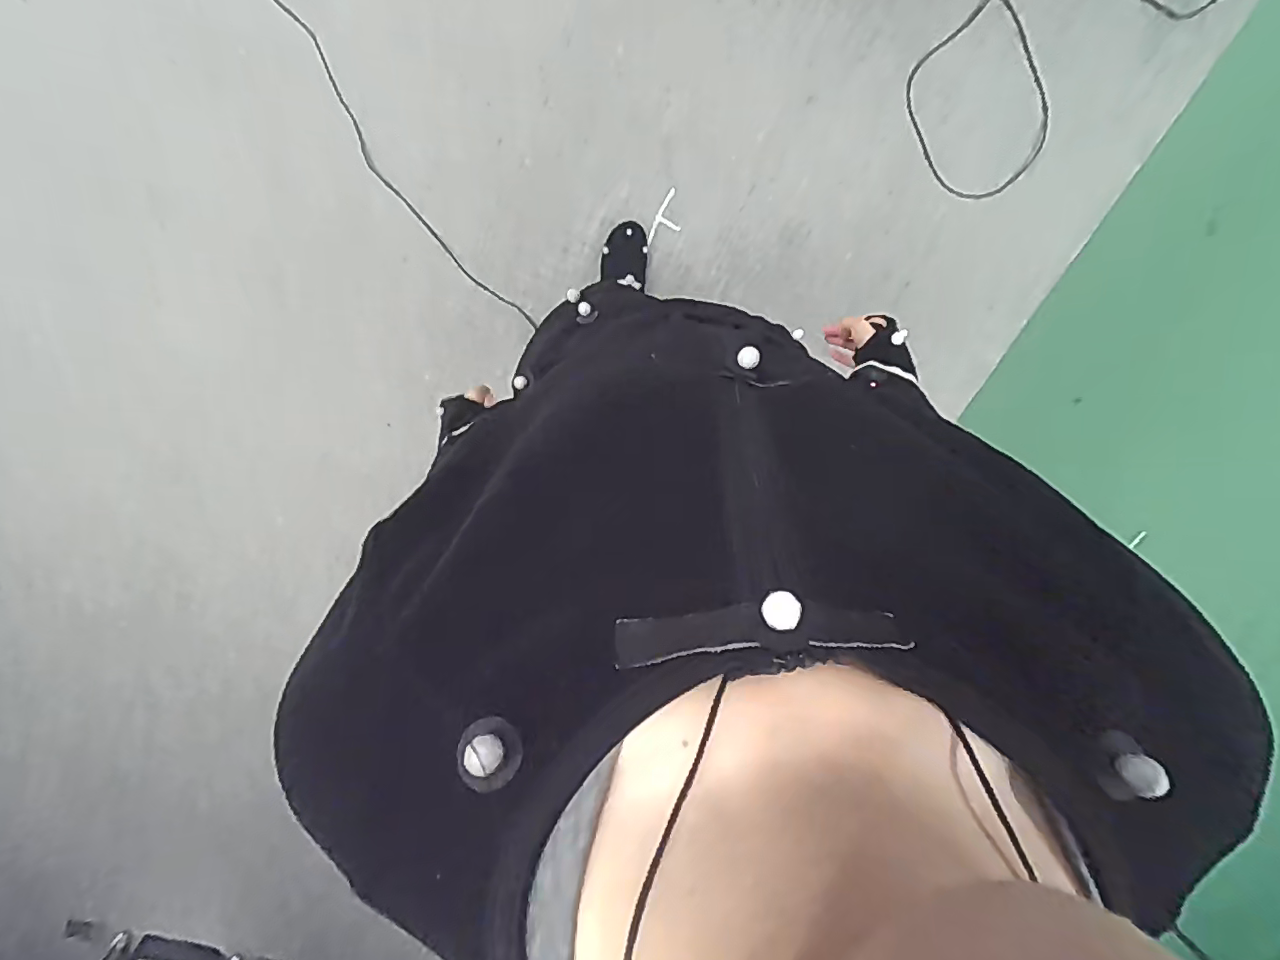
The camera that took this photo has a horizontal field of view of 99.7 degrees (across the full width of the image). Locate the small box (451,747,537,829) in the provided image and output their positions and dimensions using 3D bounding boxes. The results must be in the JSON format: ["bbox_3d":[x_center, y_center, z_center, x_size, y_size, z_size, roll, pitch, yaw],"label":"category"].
[{"bbox_3d":[-0.412,0.901,1.546,0.179,0.176,0.168,23,107,-10],"label":"small box"}]
